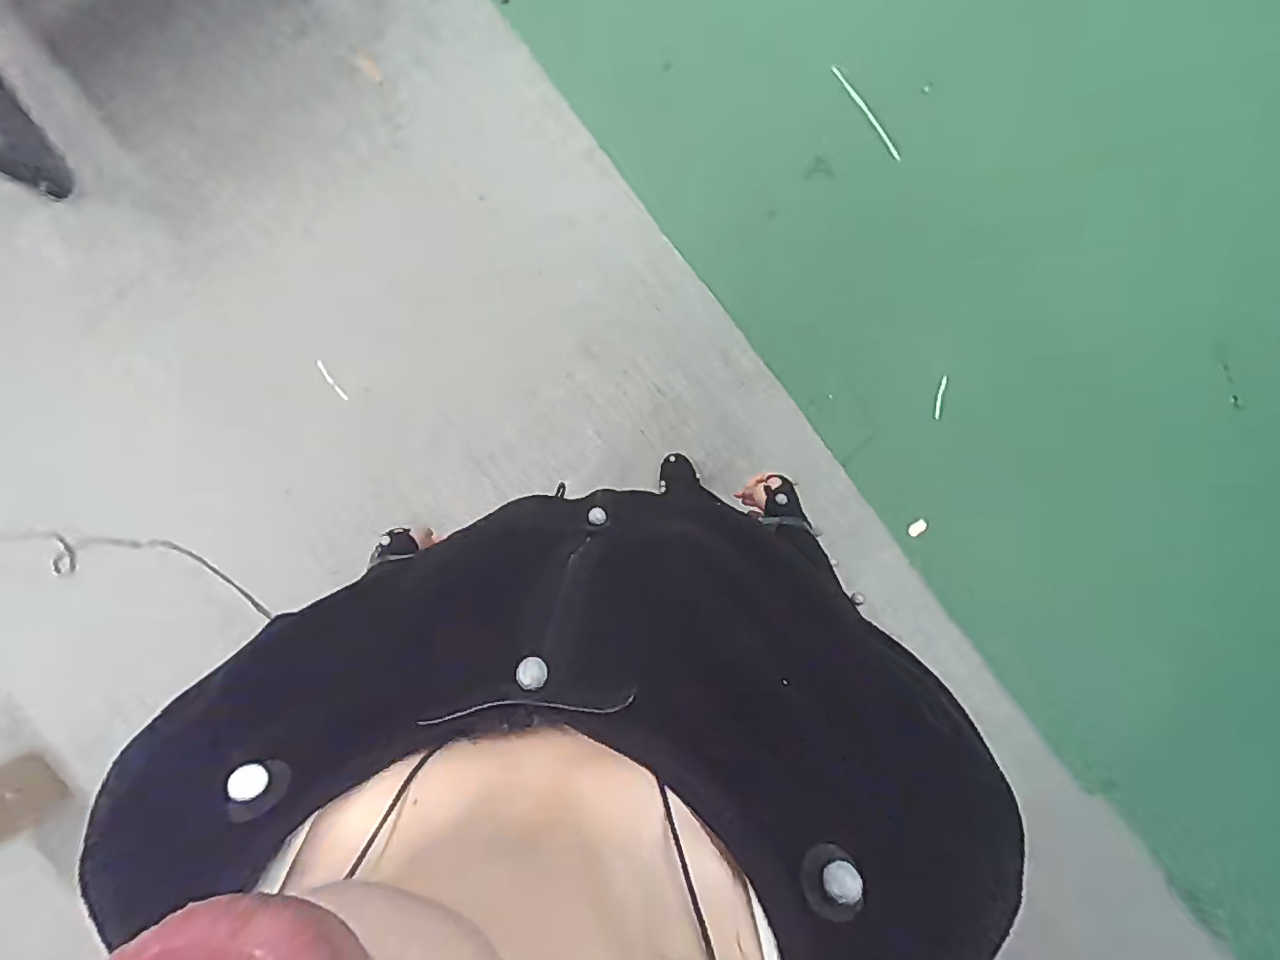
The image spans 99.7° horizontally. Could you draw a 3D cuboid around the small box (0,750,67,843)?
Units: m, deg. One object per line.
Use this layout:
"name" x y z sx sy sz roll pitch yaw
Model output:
"small box" -1.711 0.864 1.435 0.168 0.176 0.179 -38 90 0
